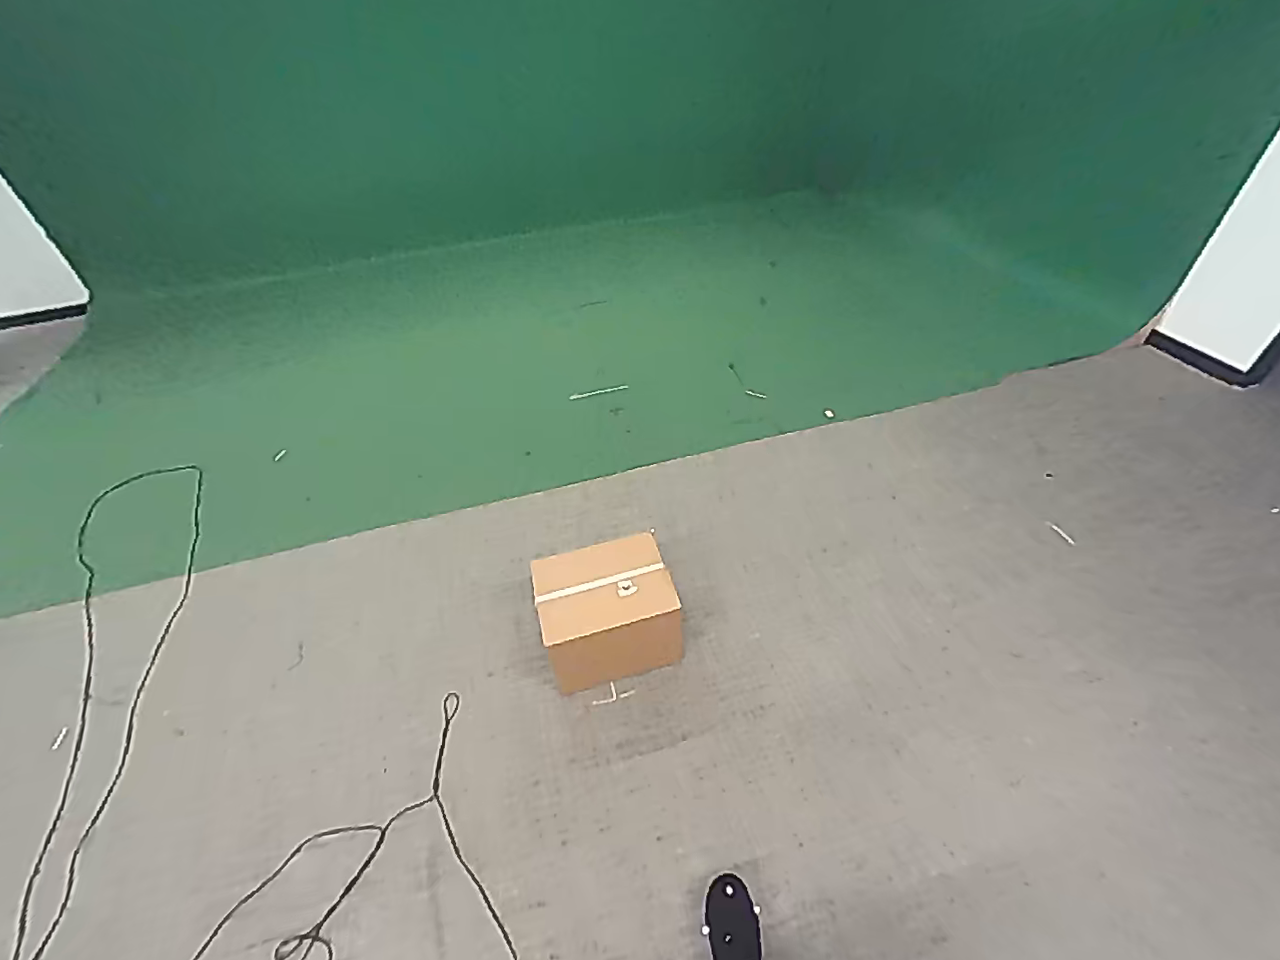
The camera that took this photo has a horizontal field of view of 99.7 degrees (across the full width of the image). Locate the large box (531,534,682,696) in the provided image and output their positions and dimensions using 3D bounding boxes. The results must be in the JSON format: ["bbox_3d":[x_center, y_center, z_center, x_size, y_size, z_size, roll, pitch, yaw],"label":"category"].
[{"bbox_3d":[-0.105,0.432,1.743,0.408,0.320,0.320,-14,44,-10],"label":"large box"}]
